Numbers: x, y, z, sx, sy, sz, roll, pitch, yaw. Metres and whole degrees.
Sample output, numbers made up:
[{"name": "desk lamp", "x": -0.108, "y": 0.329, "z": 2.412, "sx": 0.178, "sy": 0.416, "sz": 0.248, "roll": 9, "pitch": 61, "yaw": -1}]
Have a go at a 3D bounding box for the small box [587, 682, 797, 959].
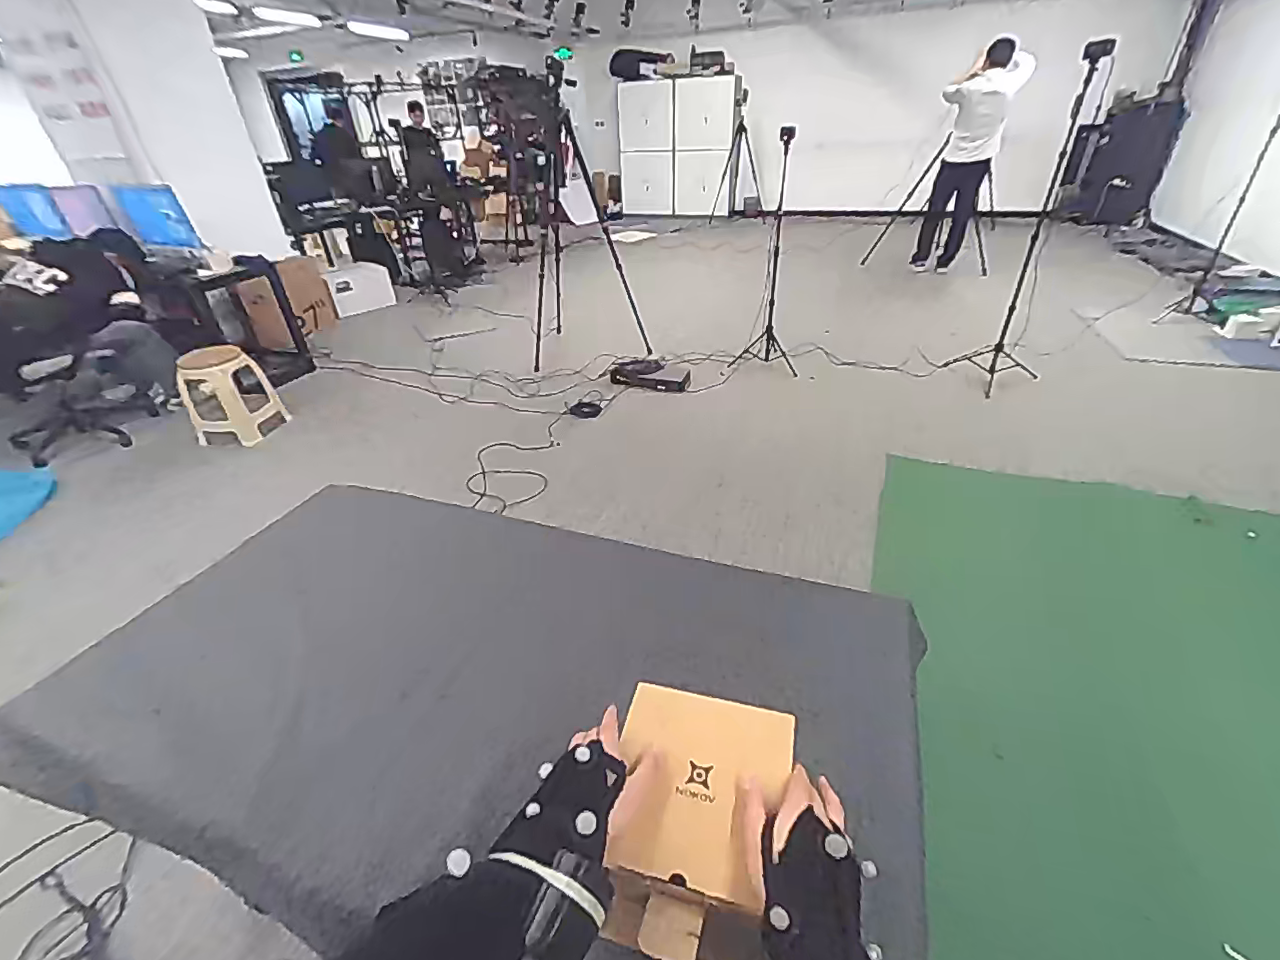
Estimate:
[{"name": "small box", "x": 0.056, "y": 0.341, "z": 0.538, "sx": 0.168, "sy": 0.176, "sz": 0.179, "roll": 8, "pitch": 36, "yaw": 14}]
